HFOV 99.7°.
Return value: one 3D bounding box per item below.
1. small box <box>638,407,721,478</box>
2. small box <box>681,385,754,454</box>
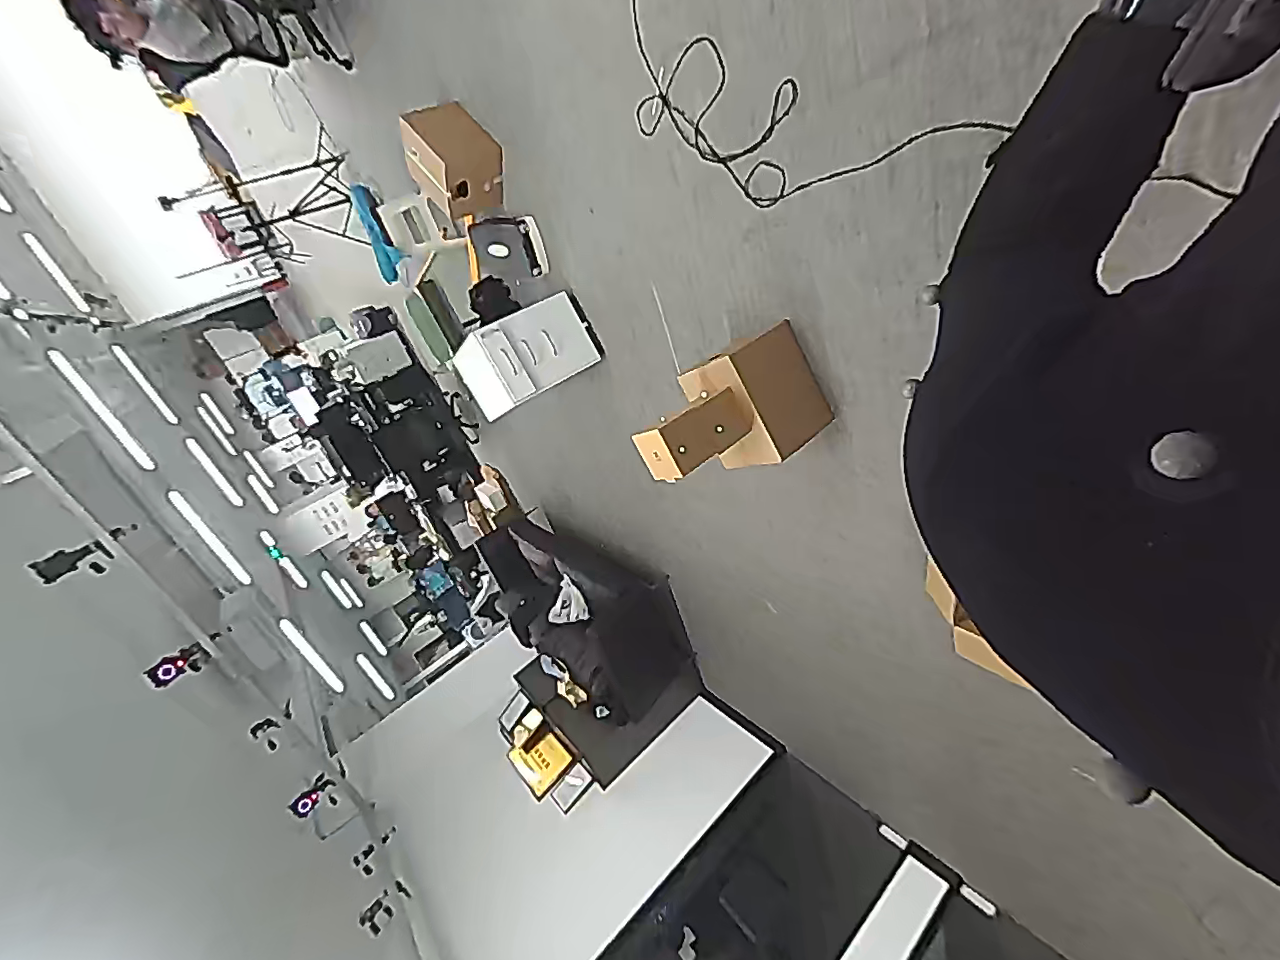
[{"bbox_3d":[0.132,-0.128,1.773,0.168,0.176,0.179,-7,116,60],"label":"small box"},{"bbox_3d":[0.258,-0.200,1.848,0.168,0.176,0.179,-7,114,60],"label":"small box"}]
